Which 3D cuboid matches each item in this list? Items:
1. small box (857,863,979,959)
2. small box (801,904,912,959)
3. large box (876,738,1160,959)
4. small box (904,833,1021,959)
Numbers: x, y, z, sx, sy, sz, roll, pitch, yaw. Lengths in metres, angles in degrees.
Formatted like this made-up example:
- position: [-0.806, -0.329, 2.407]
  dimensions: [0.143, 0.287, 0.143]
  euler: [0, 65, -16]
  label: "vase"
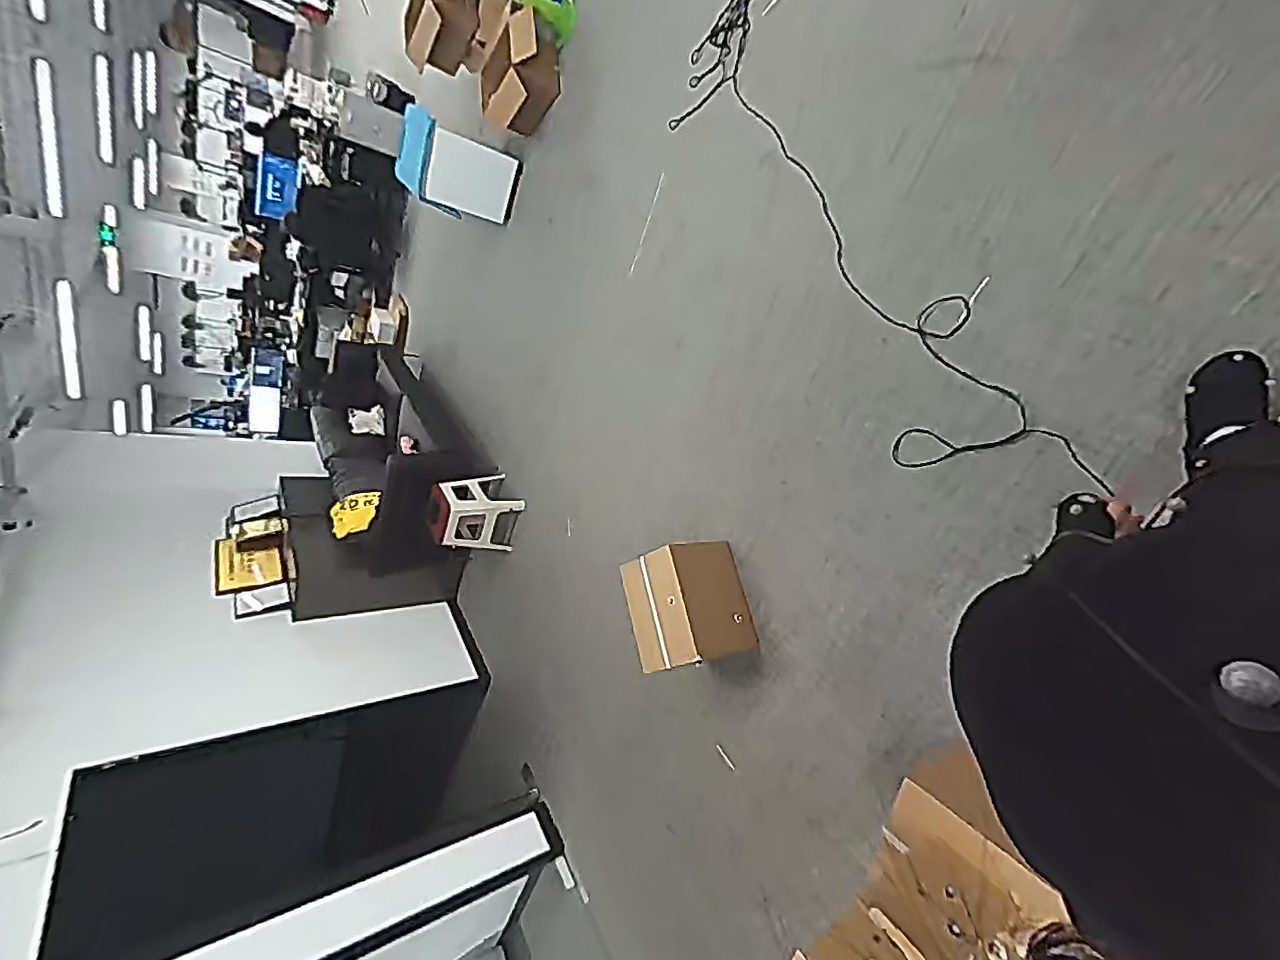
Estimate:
- position: [0.488, 0.862, 0.997]
  dimensions: [0.168, 0.176, 0.179]
  euler: [36, 116, 46]
  label: "small box"
- position: [0.361, 0.863, 0.893]
  dimensions: [0.168, 0.176, 0.179]
  euler: [34, 113, 47]
  label: "small box"
- position: [0.832, 0.875, 1.221]
  dimensions: [0.408, 0.320, 0.320]
  euler: [28, 112, 47]
  label: "large box"
- position: [0.623, 0.864, 1.090]
  dimensions: [0.179, 0.176, 0.168]
  euler: [34, 114, 47]
  label: "small box"
